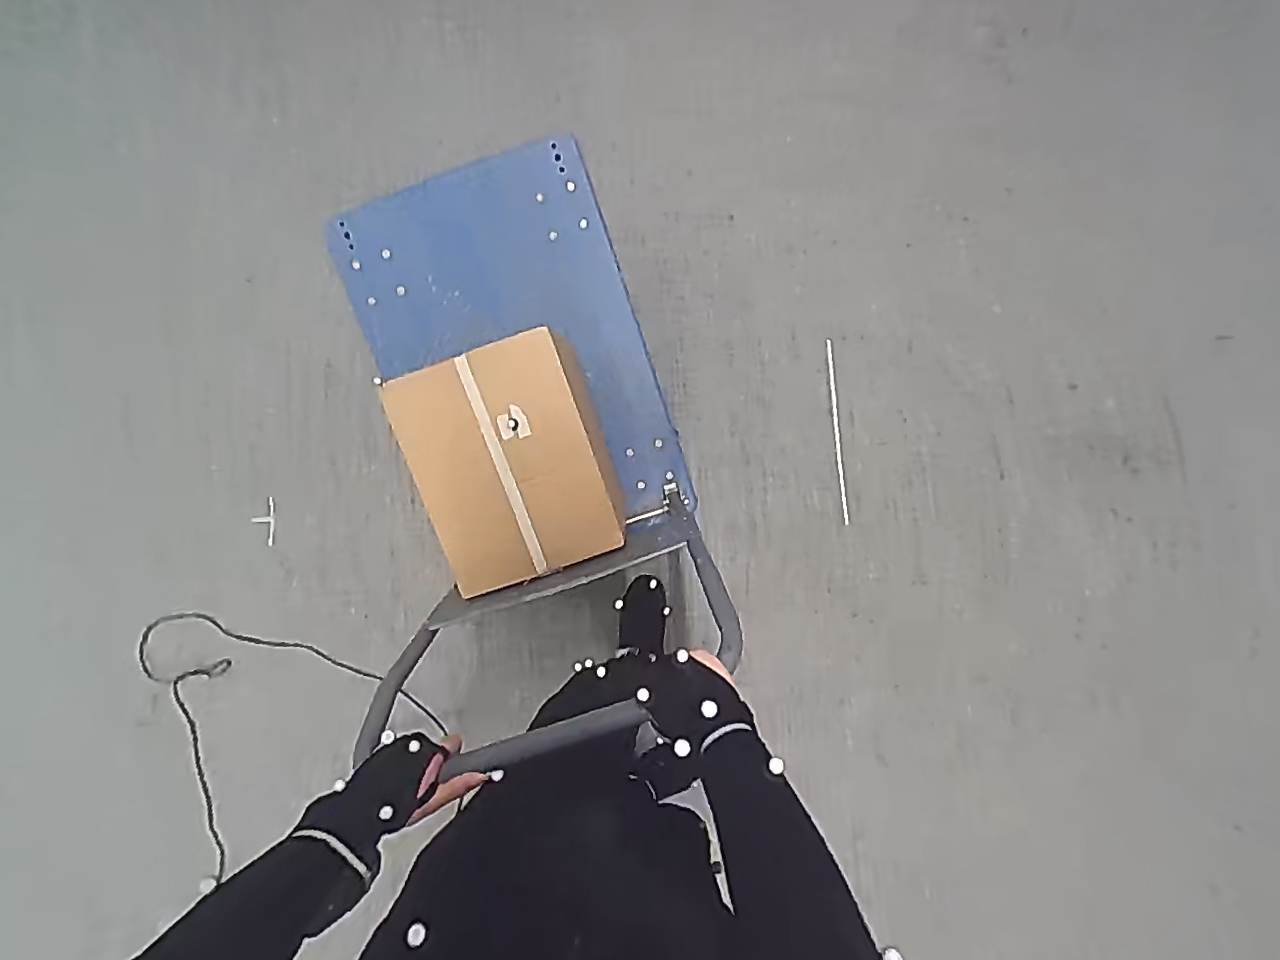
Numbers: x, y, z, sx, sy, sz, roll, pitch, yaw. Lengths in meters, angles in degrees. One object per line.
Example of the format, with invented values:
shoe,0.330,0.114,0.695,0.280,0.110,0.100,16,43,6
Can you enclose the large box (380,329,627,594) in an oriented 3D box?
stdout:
large box,-0.237,-0.044,1.092,0.320,0.320,0.408,-19,98,1
